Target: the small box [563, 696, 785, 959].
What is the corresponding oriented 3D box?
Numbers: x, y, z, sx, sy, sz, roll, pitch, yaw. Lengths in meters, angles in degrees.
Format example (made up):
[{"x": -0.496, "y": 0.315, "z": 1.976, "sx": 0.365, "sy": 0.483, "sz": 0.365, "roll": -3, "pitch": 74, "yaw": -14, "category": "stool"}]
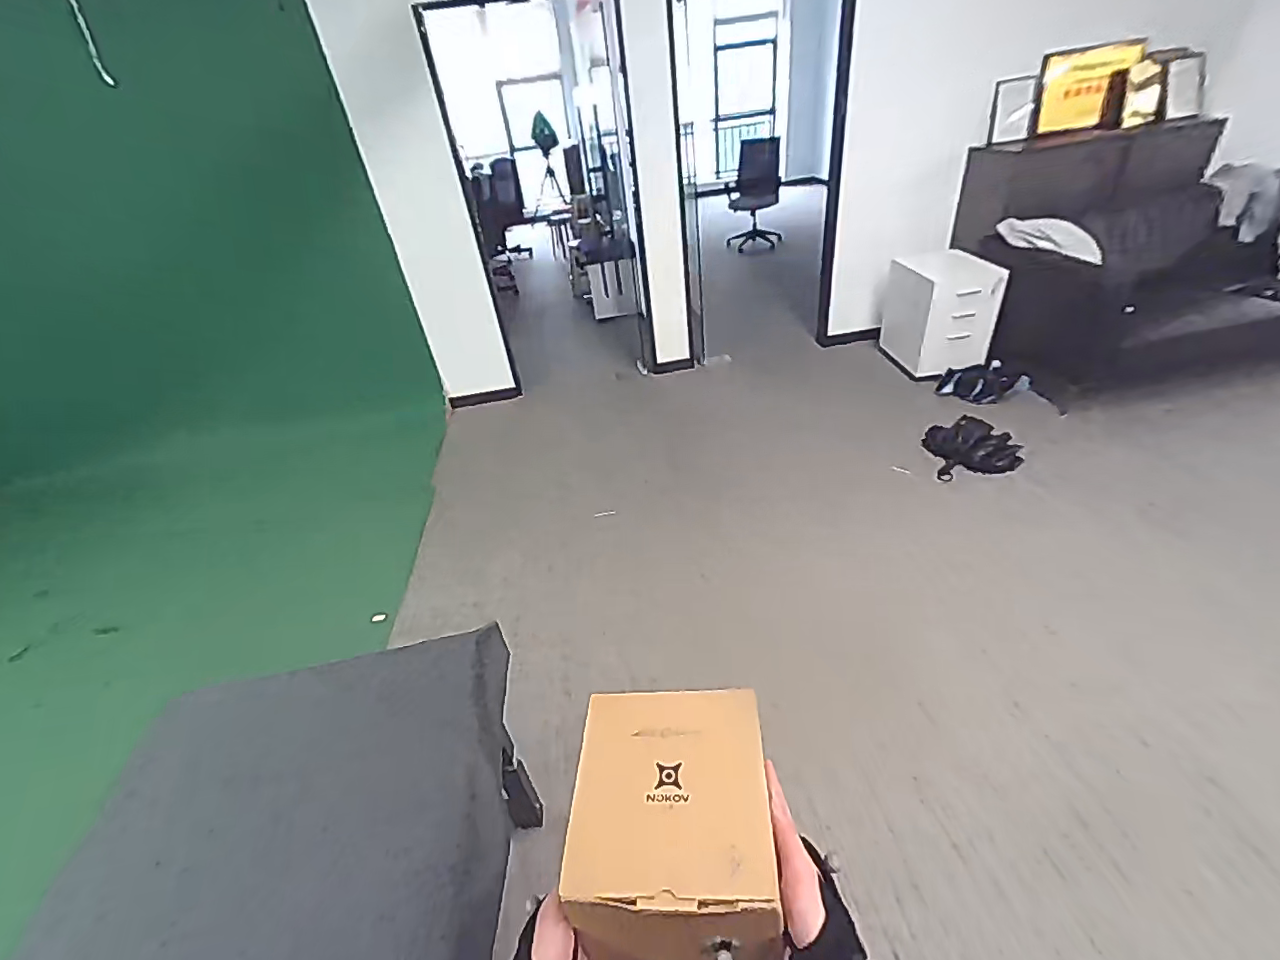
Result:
[{"x": 0.040, "y": 0.328, "z": 0.499, "sx": 0.168, "sy": 0.176, "sz": 0.179, "roll": -4, "pitch": 31, "yaw": 7, "category": "small box"}]
